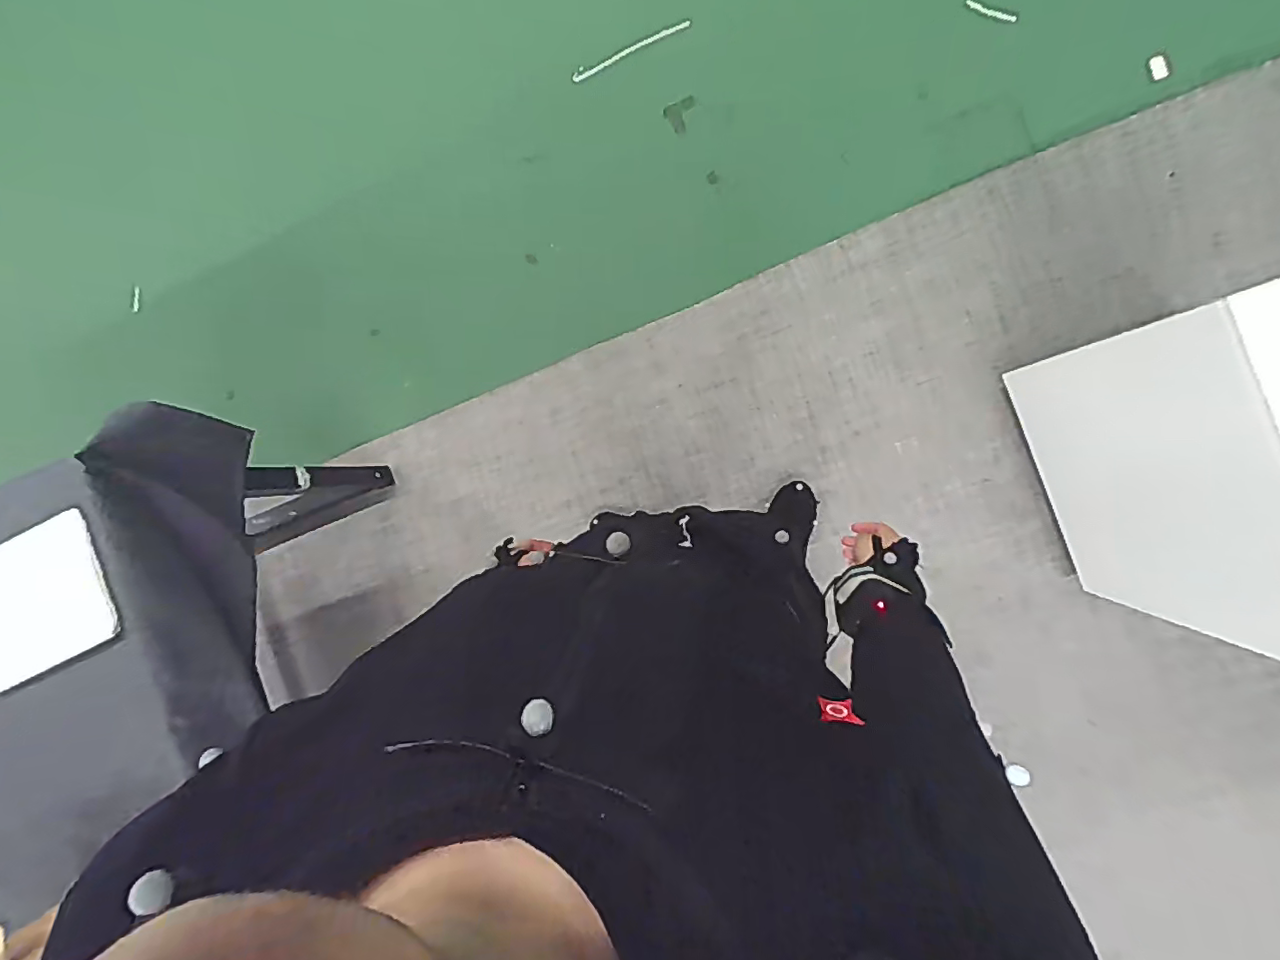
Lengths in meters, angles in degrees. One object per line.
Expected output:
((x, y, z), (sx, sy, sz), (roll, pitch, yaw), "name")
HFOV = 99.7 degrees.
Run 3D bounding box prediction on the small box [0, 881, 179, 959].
((-0.736, 0.668, 0.692), (0.168, 0.176, 0.179), (-17, 87, 10), "small box")
